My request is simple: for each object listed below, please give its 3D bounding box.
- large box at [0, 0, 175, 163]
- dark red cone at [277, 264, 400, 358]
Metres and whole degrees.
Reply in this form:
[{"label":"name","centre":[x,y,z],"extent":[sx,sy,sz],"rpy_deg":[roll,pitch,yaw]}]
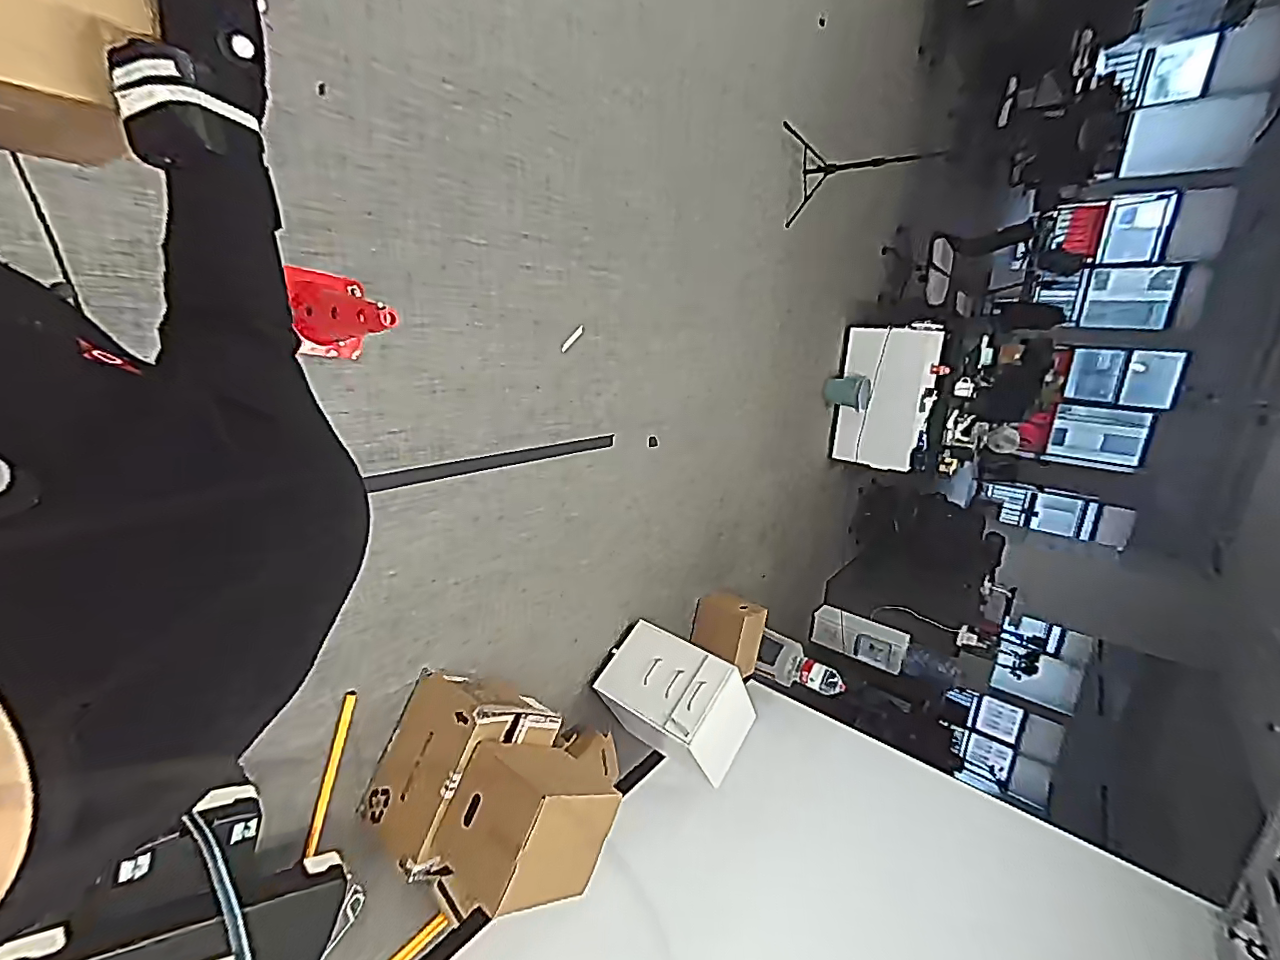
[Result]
[{"label":"large box","centre":[-0.578,-0.409,0.297],"extent":[0.408,0.320,0.320],"rpy_deg":[-16,117,-50]},{"label":"dark red cone","centre":[-0.650,-0.370,1.220],"extent":[0.201,0.394,0.202],"rpy_deg":[-6,107,-50]}]
